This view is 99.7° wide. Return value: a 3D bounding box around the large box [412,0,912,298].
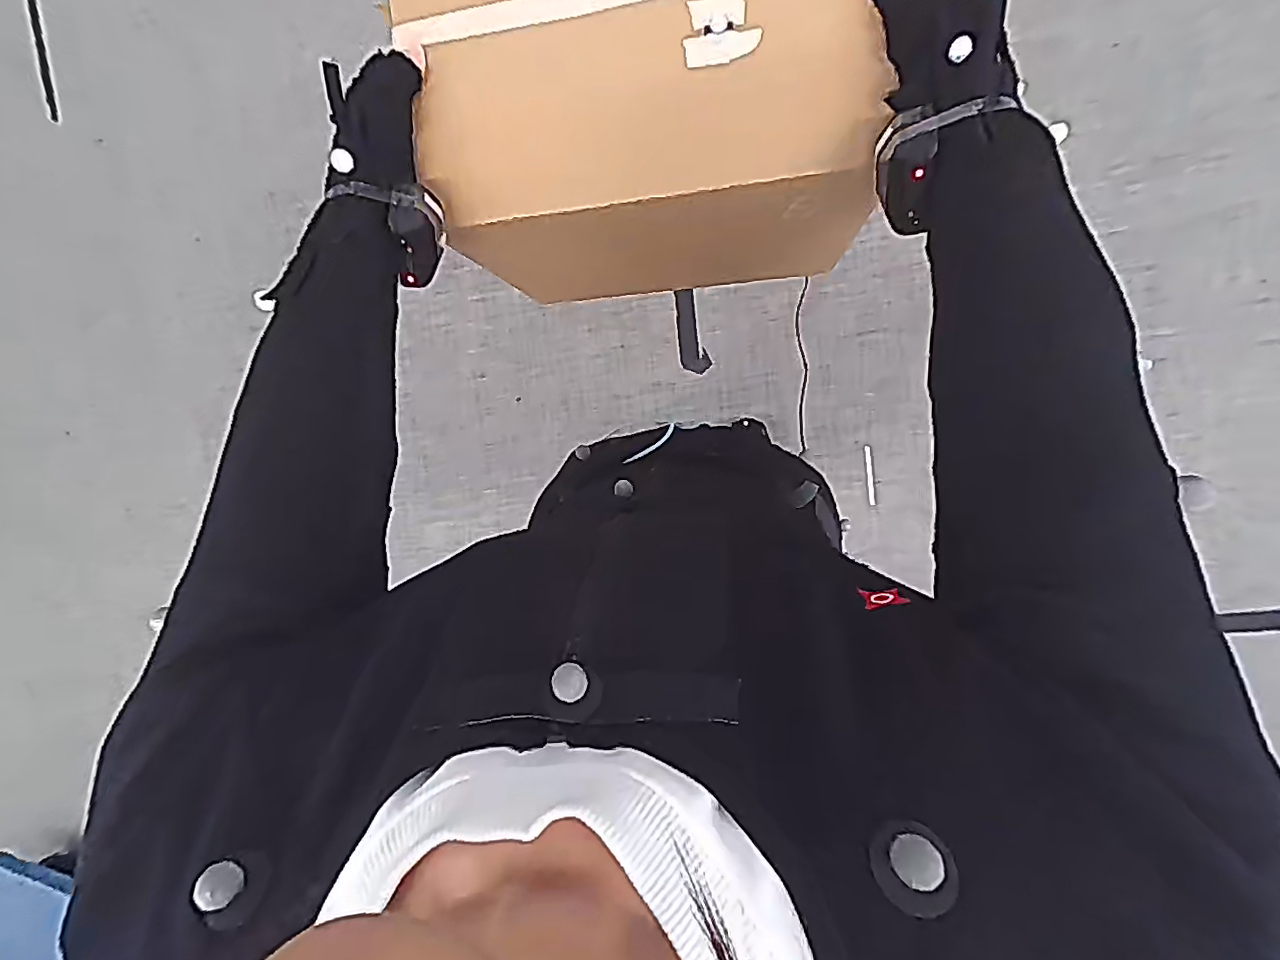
[{"bbox_3d":[0.022,-0.408,0.582,0.408,0.320,0.320,-4,96,8],"label":"large box"}]
